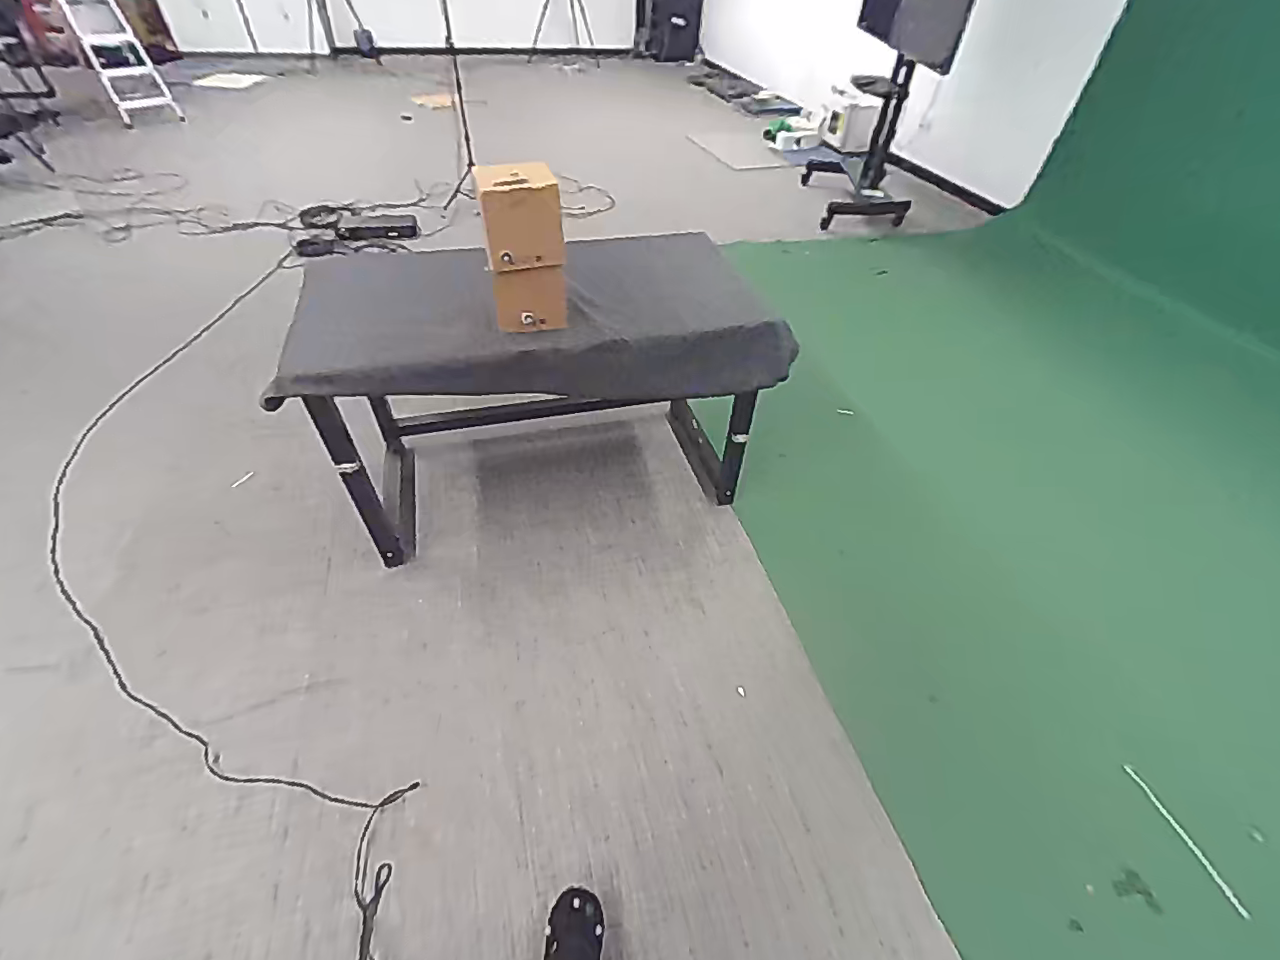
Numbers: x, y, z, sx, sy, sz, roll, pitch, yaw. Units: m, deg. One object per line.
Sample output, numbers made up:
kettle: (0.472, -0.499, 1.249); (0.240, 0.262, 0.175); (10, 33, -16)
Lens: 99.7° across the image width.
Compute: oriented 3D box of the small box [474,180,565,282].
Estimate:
small box: (-0.272, -0.563, 1.233); (0.168, 0.176, 0.179); (-12, 44, -13)

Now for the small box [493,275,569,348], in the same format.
small box: (-0.275, -0.453, 1.355); (0.168, 0.176, 0.179); (-10, 46, -11)
